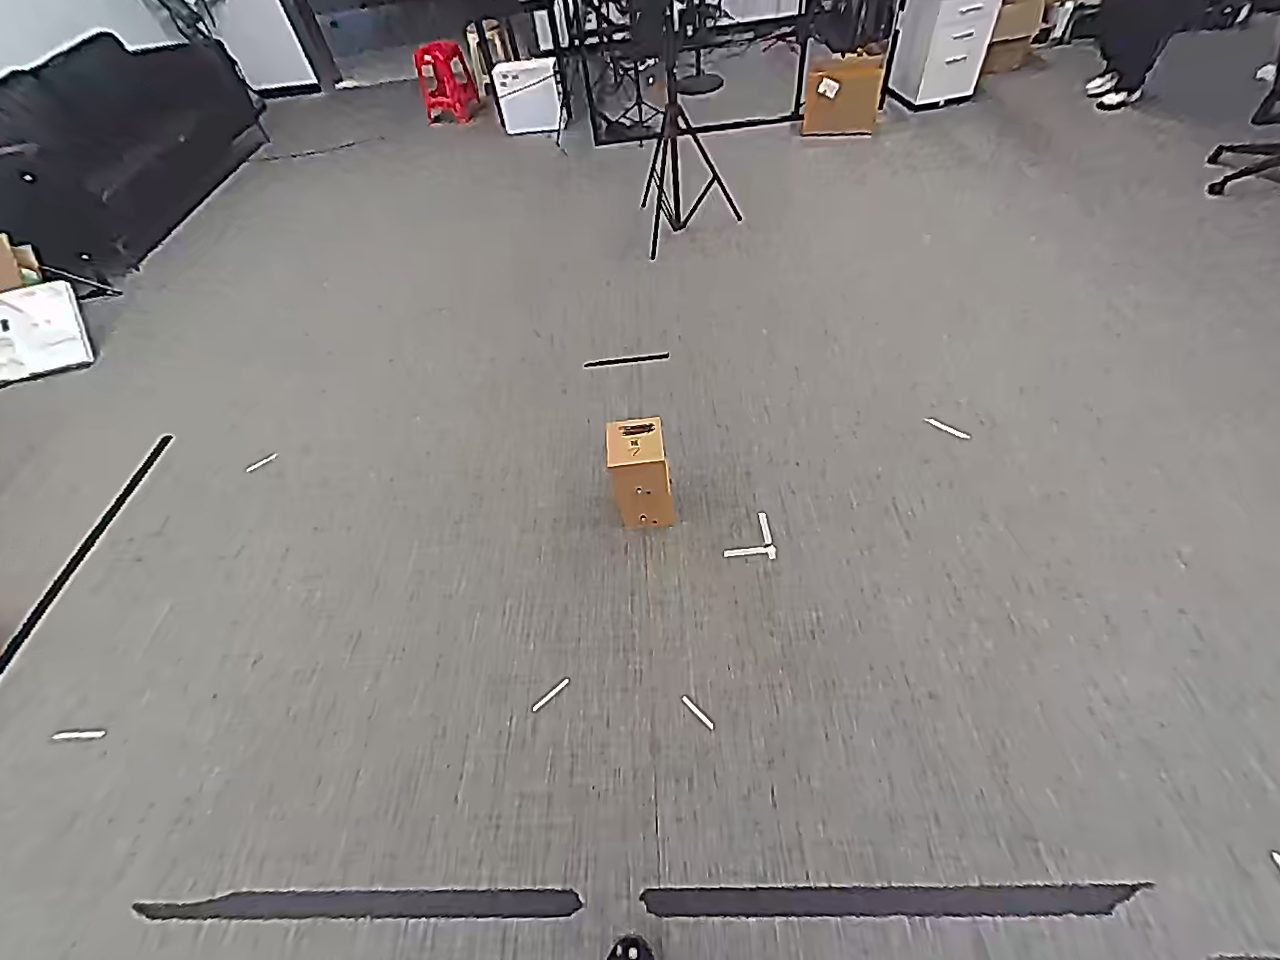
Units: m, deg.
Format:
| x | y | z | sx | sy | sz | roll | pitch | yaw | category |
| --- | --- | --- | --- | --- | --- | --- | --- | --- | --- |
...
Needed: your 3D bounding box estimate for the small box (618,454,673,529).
| x | y | z | sx | sy | sz | roll | pitch | yaw | category |
| --- | --- | --- | --- | --- | --- | --- | --- | --- | --- |
| 0.019 | 0.040 | 1.771 | 0.168 | 0.176 | 0.179 | -6 | 51 | 3 | small box |
